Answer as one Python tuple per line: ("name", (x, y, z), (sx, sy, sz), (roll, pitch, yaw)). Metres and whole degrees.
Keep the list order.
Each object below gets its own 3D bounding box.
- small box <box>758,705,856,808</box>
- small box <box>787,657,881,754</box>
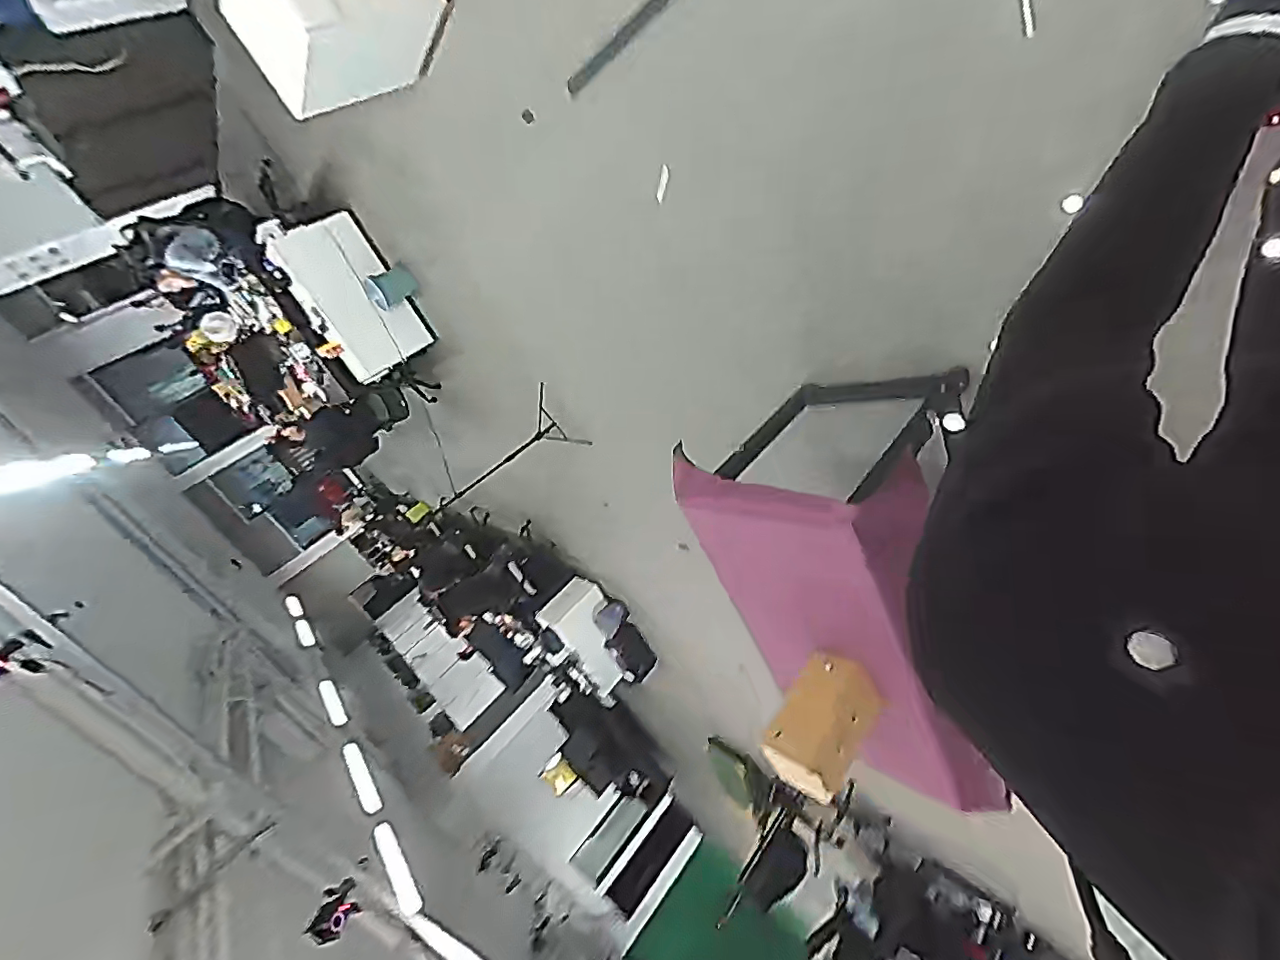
("small box", (0.476, 0.774, 1.539), (0.179, 0.176, 0.168), (-1, 126, 56))
("small box", (0.580, 0.660, 1.600), (0.179, 0.176, 0.168), (56, 151, -14))
